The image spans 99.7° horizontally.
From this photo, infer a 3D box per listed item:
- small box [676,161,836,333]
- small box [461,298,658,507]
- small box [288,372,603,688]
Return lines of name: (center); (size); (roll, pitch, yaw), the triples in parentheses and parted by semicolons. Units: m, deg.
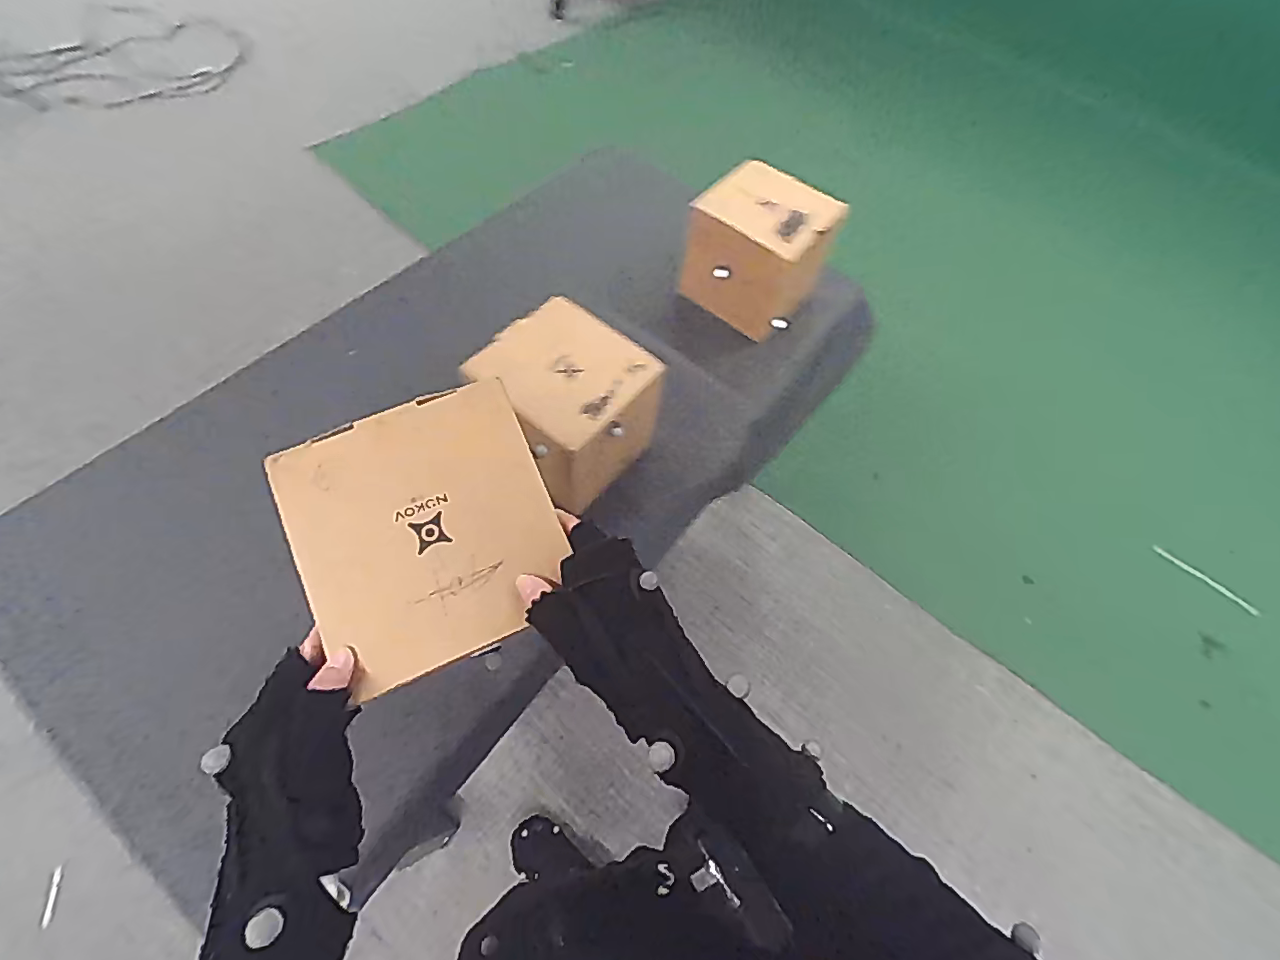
small box: (0.178, -0.369, 0.880); (0.179, 0.176, 0.168); (37, 65, 15)
small box: (-0.099, -0.094, 0.707); (0.179, 0.176, 0.168); (36, 65, 14)
small box: (-0.140, 0.045, 0.441); (0.168, 0.176, 0.179); (-22, 80, -11)
